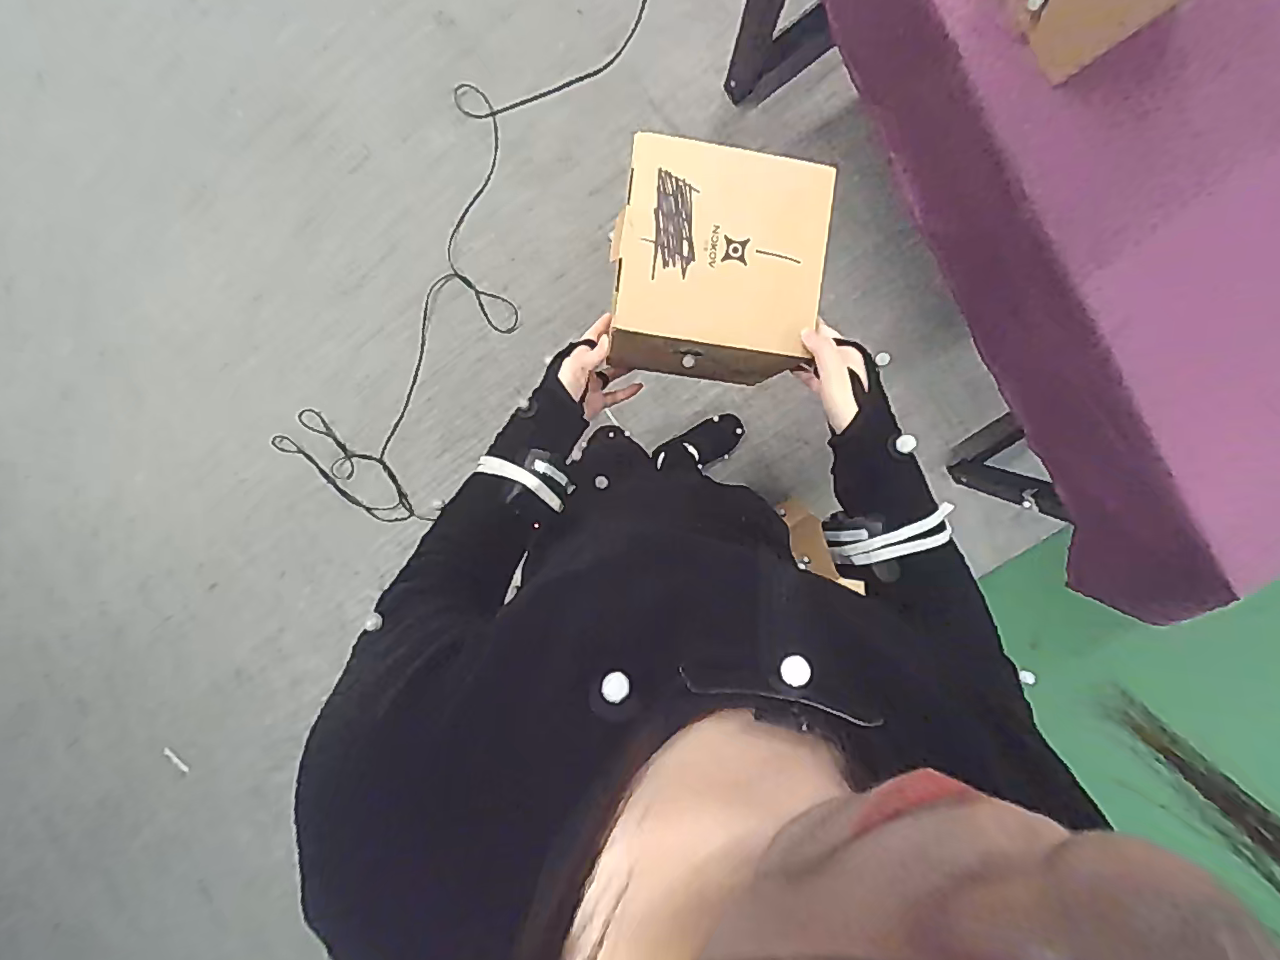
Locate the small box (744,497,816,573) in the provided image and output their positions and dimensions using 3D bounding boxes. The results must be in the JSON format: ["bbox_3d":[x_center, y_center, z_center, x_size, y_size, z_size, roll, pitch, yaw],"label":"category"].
[{"bbox_3d":[0.396,0.161,1.439,0.168,0.176,0.179,-30,101,6],"label":"small box"}]

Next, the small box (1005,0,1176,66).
[{"bbox_3d":[0.497,-0.567,0.541,0.168,0.176,0.179,-36,100,7],"label":"small box"}]

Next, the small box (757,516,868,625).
[{"bbox_3d":[0.398,0.203,1.282,0.168,0.176,0.179,-33,101,8],"label":"small box"}]

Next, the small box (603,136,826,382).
[{"bbox_3d":[0.059,-0.199,0.540,0.179,0.176,0.168,7,91,-6],"label":"small box"}]
